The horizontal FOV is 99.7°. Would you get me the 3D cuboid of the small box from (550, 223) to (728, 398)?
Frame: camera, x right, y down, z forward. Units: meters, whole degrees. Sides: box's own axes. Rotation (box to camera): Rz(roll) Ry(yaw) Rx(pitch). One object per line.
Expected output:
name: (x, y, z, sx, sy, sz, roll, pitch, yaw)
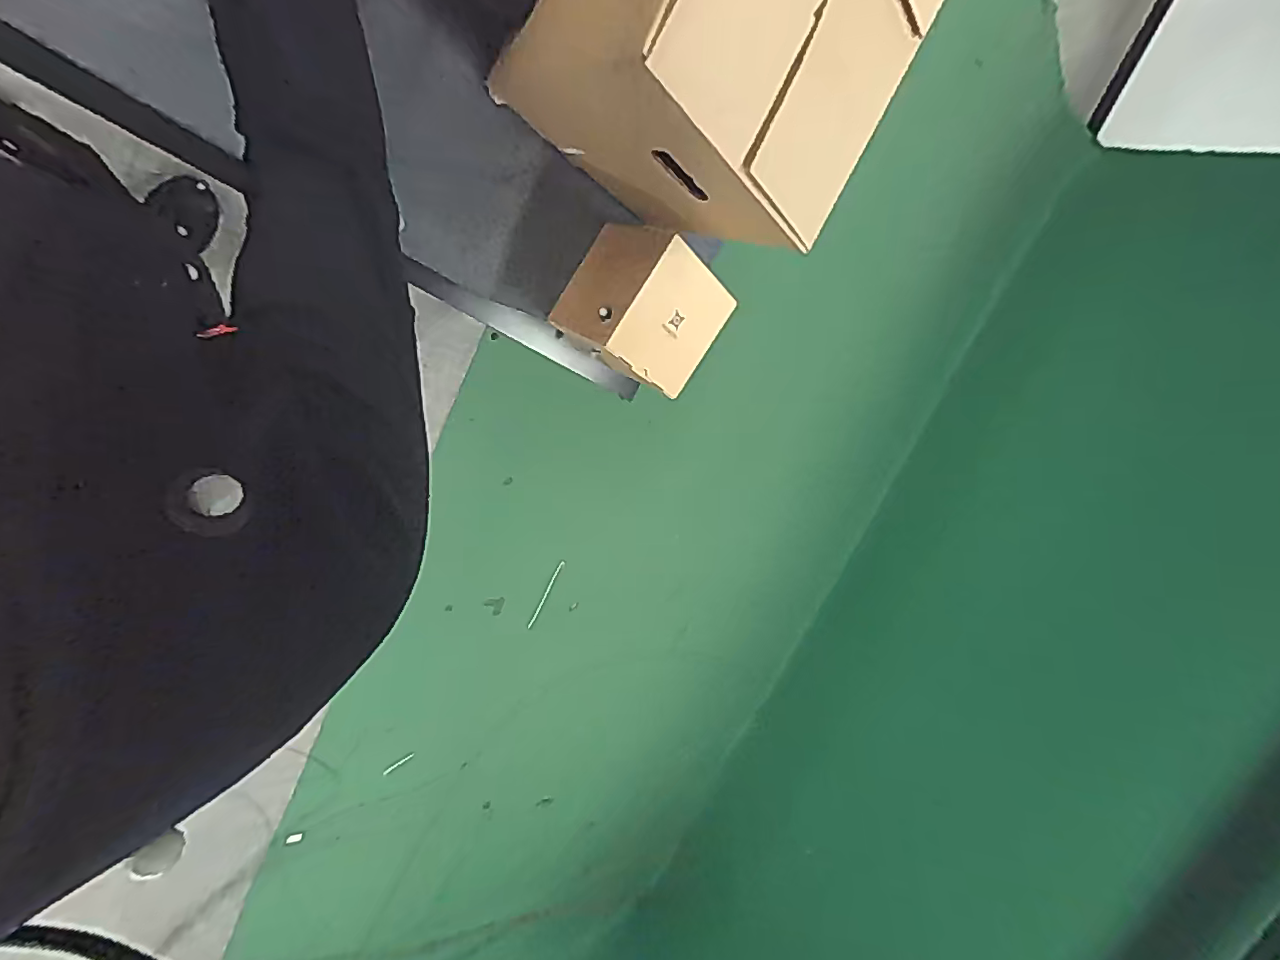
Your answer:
small box: (-0.007, -0.260, 0.820, 0.168, 0.176, 0.179, 29, 98, -47)
